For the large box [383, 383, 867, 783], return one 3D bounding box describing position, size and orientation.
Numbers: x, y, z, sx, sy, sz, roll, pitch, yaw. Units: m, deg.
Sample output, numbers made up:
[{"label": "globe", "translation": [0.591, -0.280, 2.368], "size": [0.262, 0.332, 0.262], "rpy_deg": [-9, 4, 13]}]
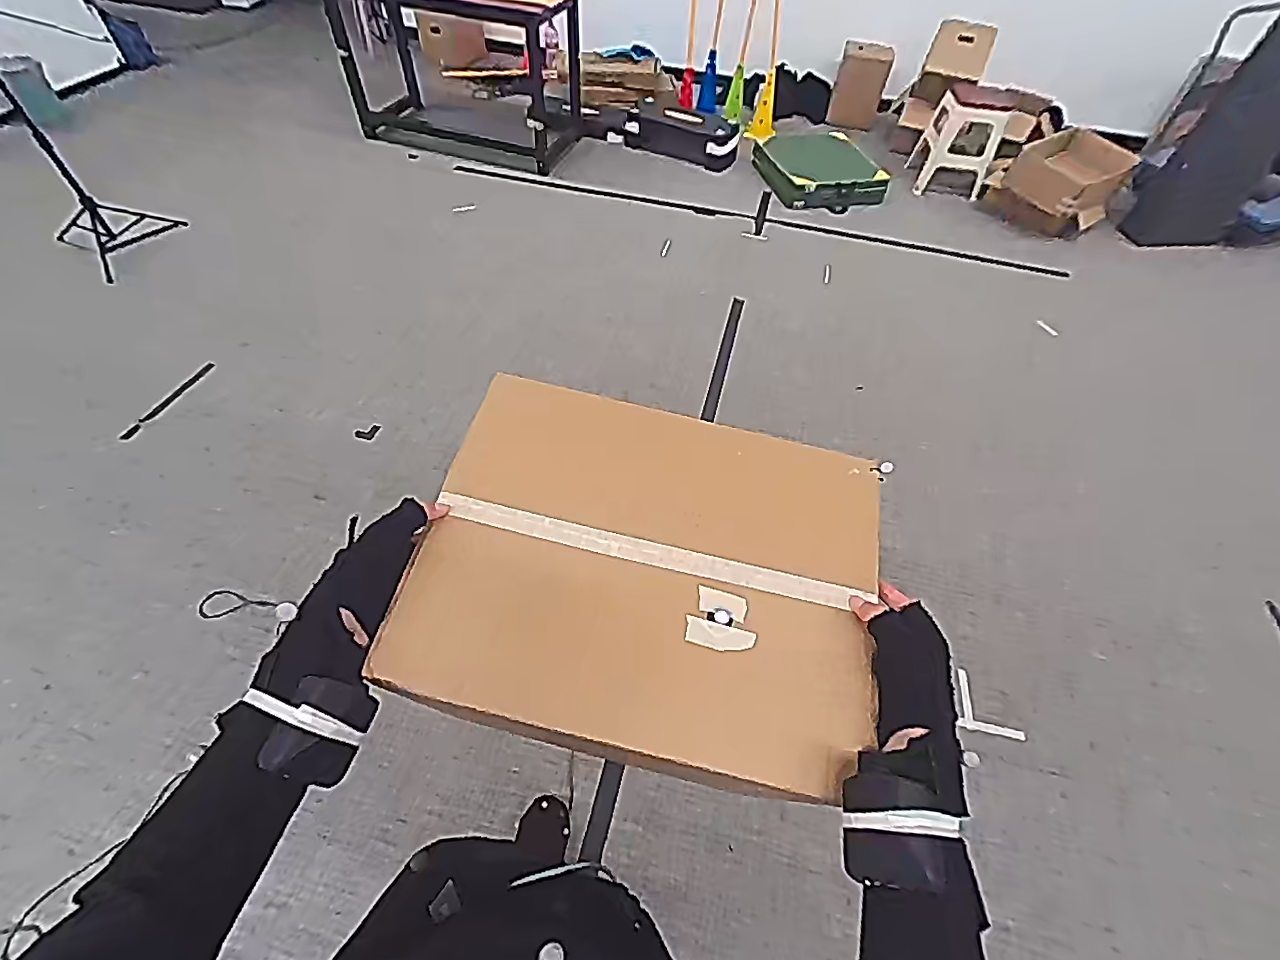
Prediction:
[{"label": "large box", "translation": [-0.002, 0.137, 0.631], "size": [0.408, 0.320, 0.320], "rpy_deg": [14, 62, 1]}]
